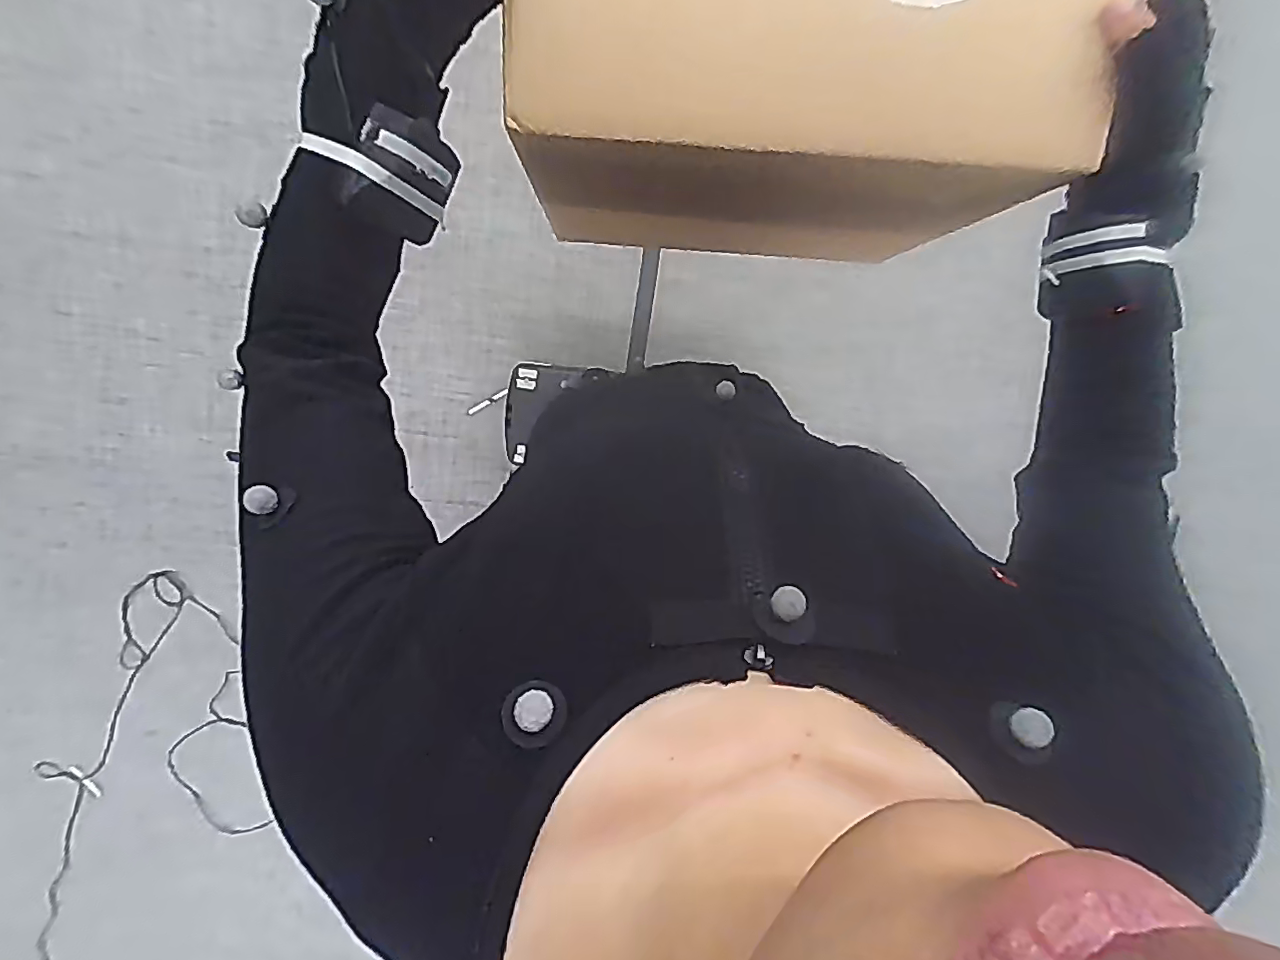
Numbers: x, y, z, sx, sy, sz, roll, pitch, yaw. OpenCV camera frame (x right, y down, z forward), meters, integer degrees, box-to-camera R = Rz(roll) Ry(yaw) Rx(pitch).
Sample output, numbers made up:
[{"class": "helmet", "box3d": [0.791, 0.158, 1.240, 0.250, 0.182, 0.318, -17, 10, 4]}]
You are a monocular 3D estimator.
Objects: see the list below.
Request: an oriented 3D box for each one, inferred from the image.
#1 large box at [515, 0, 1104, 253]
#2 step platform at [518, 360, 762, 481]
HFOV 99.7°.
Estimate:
[{"class": "large box", "box3d": [0.110, -0.409, 0.492, 0.408, 0.320, 0.320, 2, 102, -4]}, {"class": "step platform", "box3d": [-0.002, -0.171, 1.553, 0.684, 0.204, 0.286, 5, 101, -4]}]
